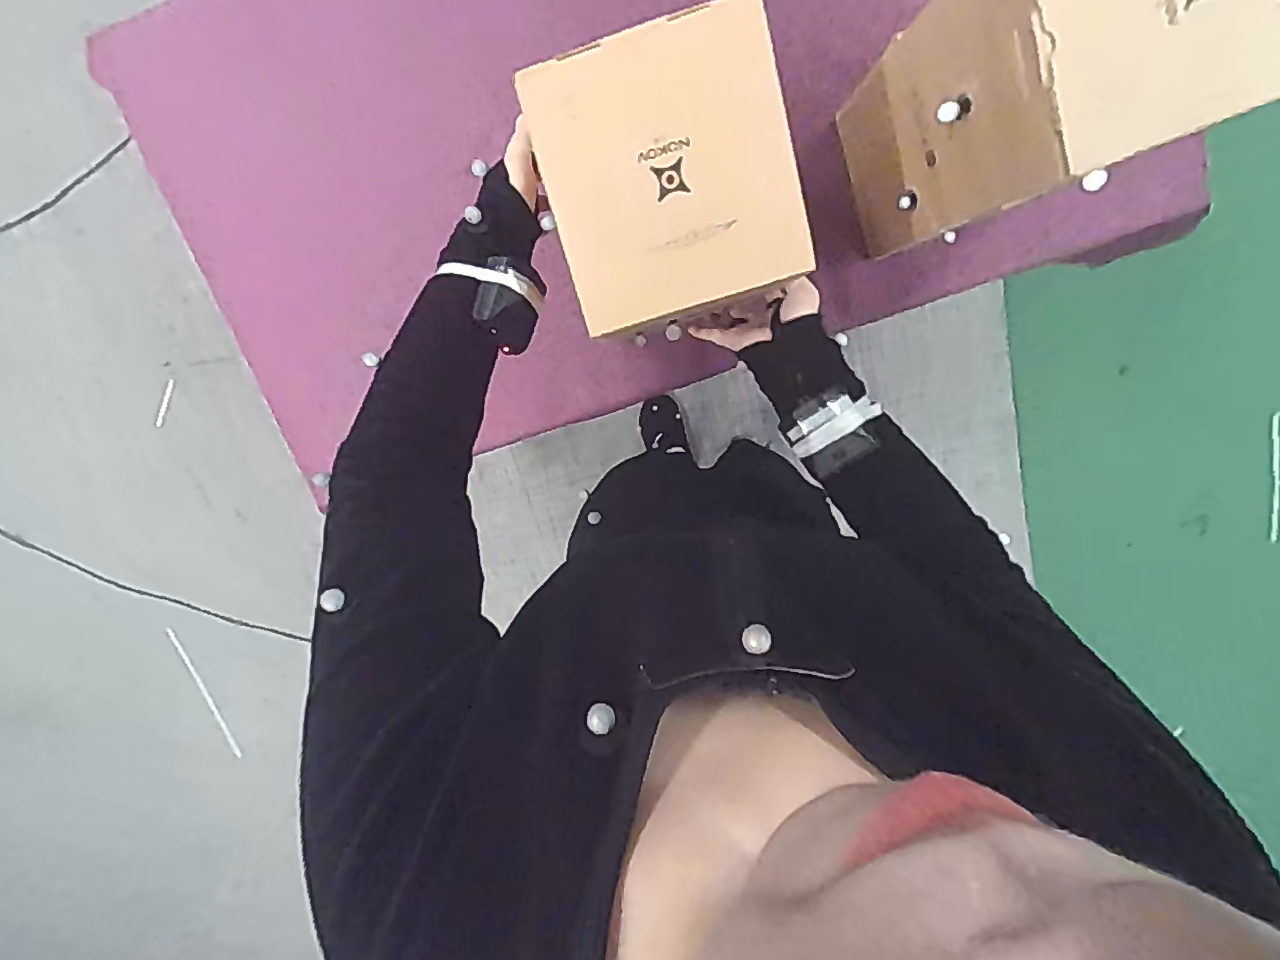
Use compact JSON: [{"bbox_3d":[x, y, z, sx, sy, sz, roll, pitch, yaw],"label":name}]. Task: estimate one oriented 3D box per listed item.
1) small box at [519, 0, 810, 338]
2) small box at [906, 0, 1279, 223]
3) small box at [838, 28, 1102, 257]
[{"bbox_3d":[0.020,-0.225,0.443,0.168,0.176,0.179,-15,102,5],"label":"small box"},{"bbox_3d":[0.330,-0.322,0.415,0.179,0.176,0.168,-20,103,6],"label":"small box"},{"bbox_3d":[0.332,-0.362,0.575,0.168,0.176,0.179,-20,103,6],"label":"small box"}]
